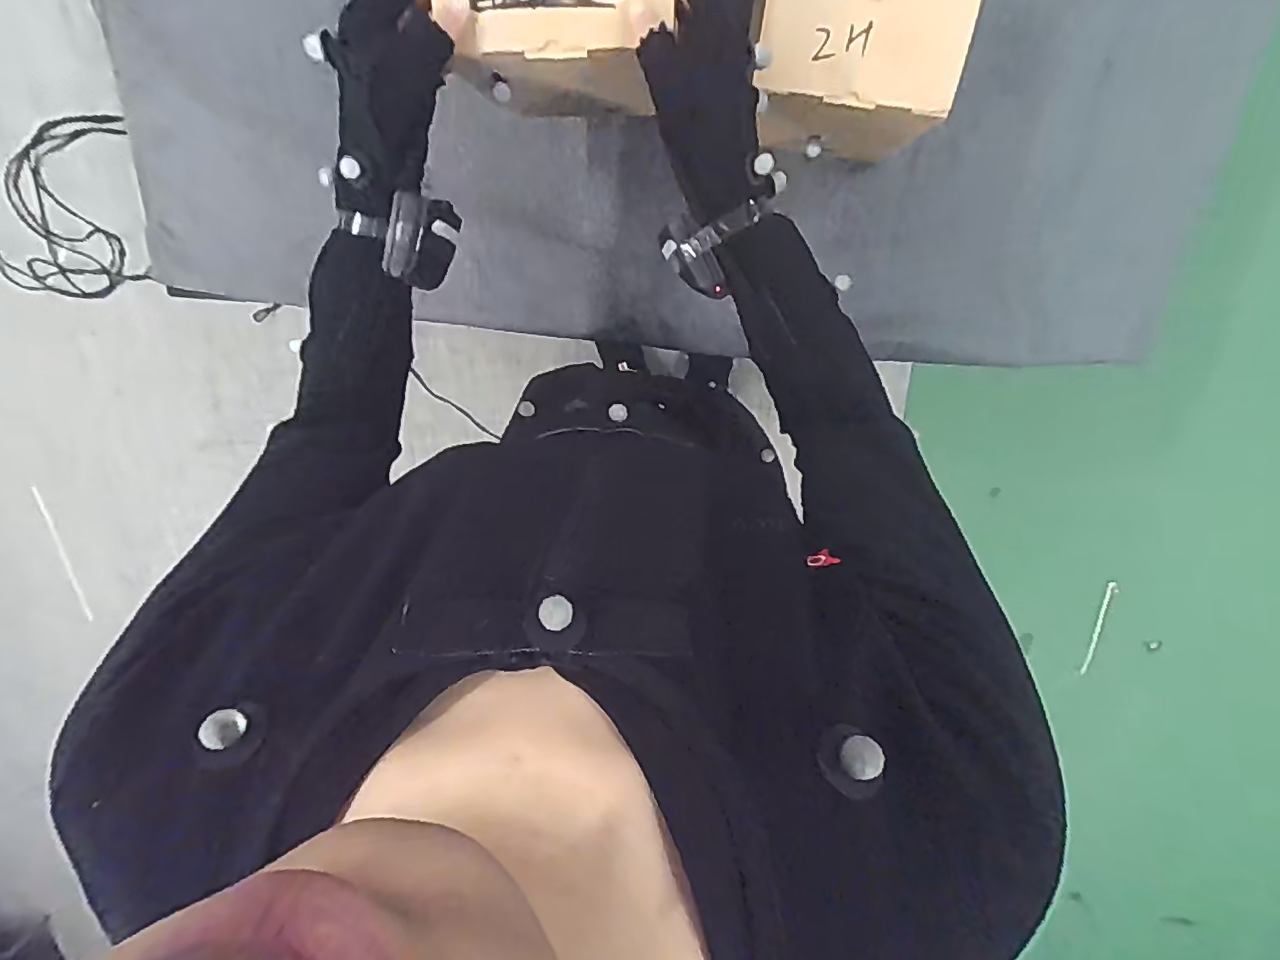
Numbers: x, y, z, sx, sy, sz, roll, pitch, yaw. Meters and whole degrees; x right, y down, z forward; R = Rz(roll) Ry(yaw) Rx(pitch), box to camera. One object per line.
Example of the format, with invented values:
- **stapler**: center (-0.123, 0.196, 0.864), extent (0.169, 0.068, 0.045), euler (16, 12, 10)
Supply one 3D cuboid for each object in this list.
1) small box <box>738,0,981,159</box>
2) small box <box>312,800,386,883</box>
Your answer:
- **small box**: center (0.190, -0.419, 0.493), extent (0.168, 0.176, 0.179), euler (9, 110, 1)
- **small box**: center (-1.010, 1.256, 1.888), extent (0.168, 0.176, 0.179), euler (8, 112, 2)
